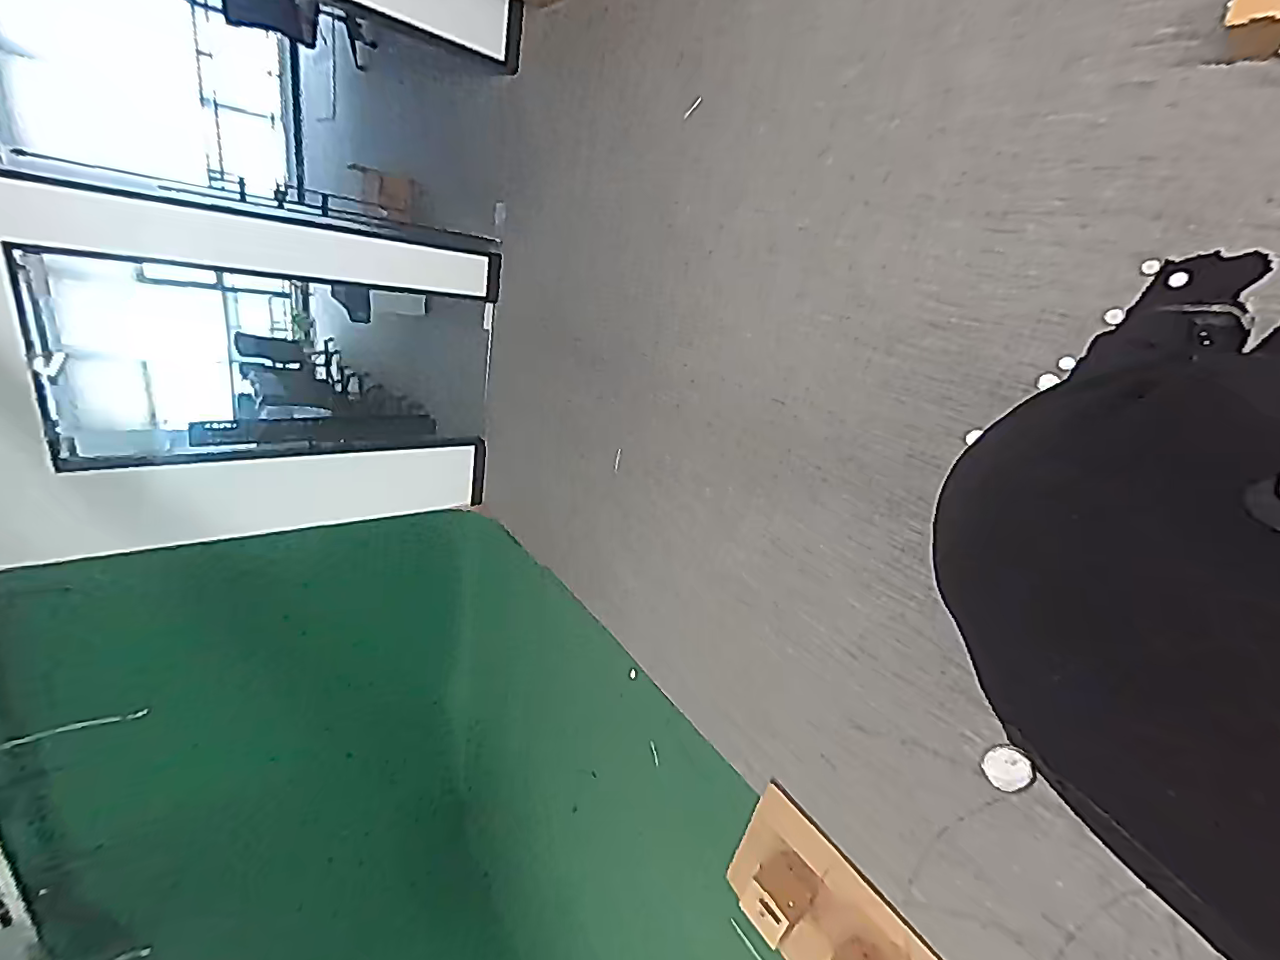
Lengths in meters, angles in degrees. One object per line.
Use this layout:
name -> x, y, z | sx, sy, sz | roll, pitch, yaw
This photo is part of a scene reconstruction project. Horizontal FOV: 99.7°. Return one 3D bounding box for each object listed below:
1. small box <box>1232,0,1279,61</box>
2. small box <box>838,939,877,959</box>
small box -> 1.074, -0.788, 0.830 | 0.168, 0.176, 0.179 | 33, 121, 45
small box -> 0.672, 1.599, 1.678 | 0.168, 0.176, 0.179 | 34, 121, 42
